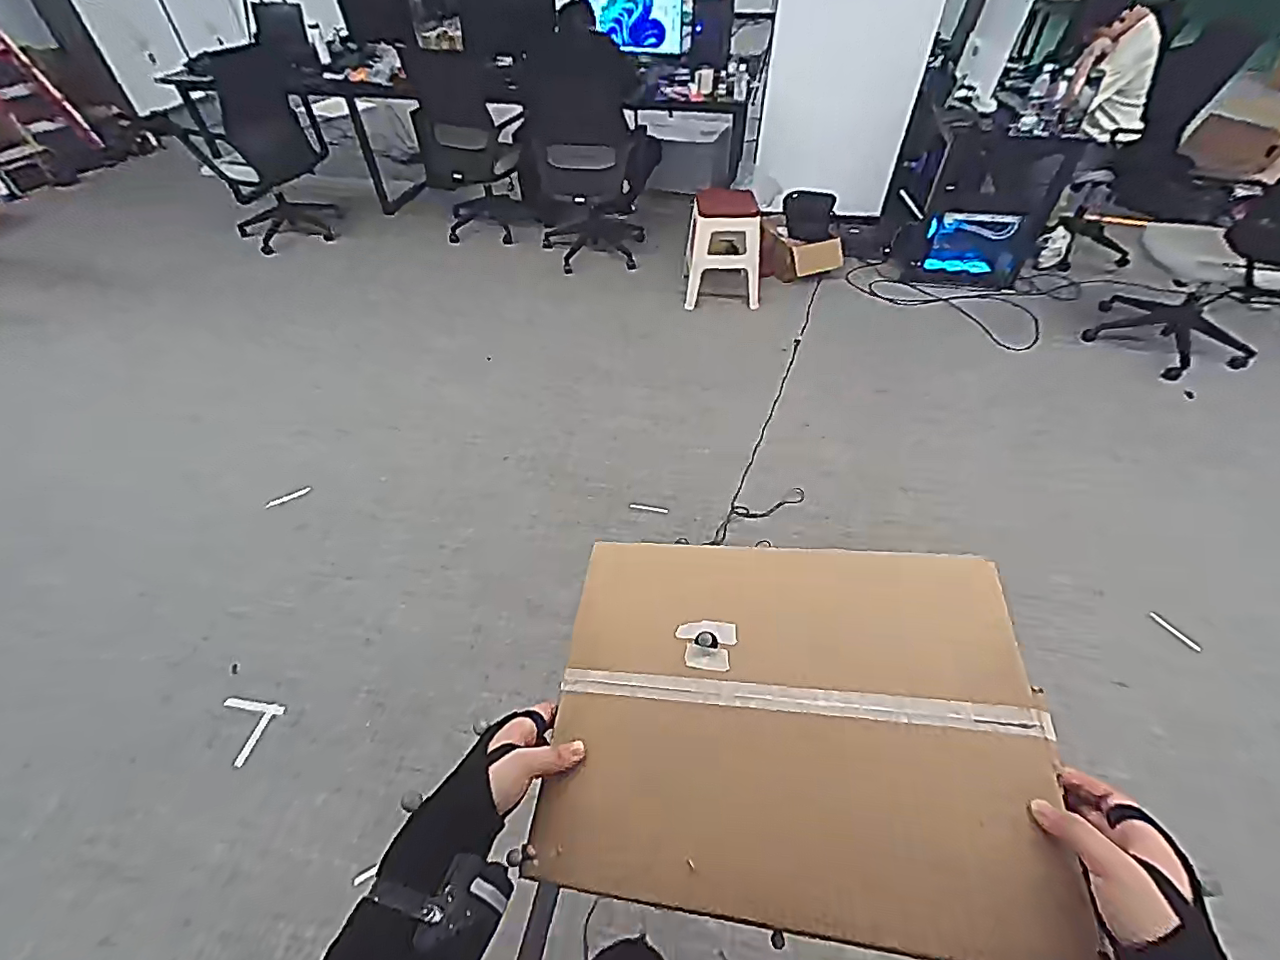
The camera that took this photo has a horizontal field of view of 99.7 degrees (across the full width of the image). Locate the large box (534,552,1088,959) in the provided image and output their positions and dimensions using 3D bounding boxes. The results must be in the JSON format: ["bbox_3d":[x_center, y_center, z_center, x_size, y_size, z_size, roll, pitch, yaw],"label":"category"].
[{"bbox_3d":[0.154,0.289,0.602,0.408,0.320,0.320,-1,51,14],"label":"large box"}]
